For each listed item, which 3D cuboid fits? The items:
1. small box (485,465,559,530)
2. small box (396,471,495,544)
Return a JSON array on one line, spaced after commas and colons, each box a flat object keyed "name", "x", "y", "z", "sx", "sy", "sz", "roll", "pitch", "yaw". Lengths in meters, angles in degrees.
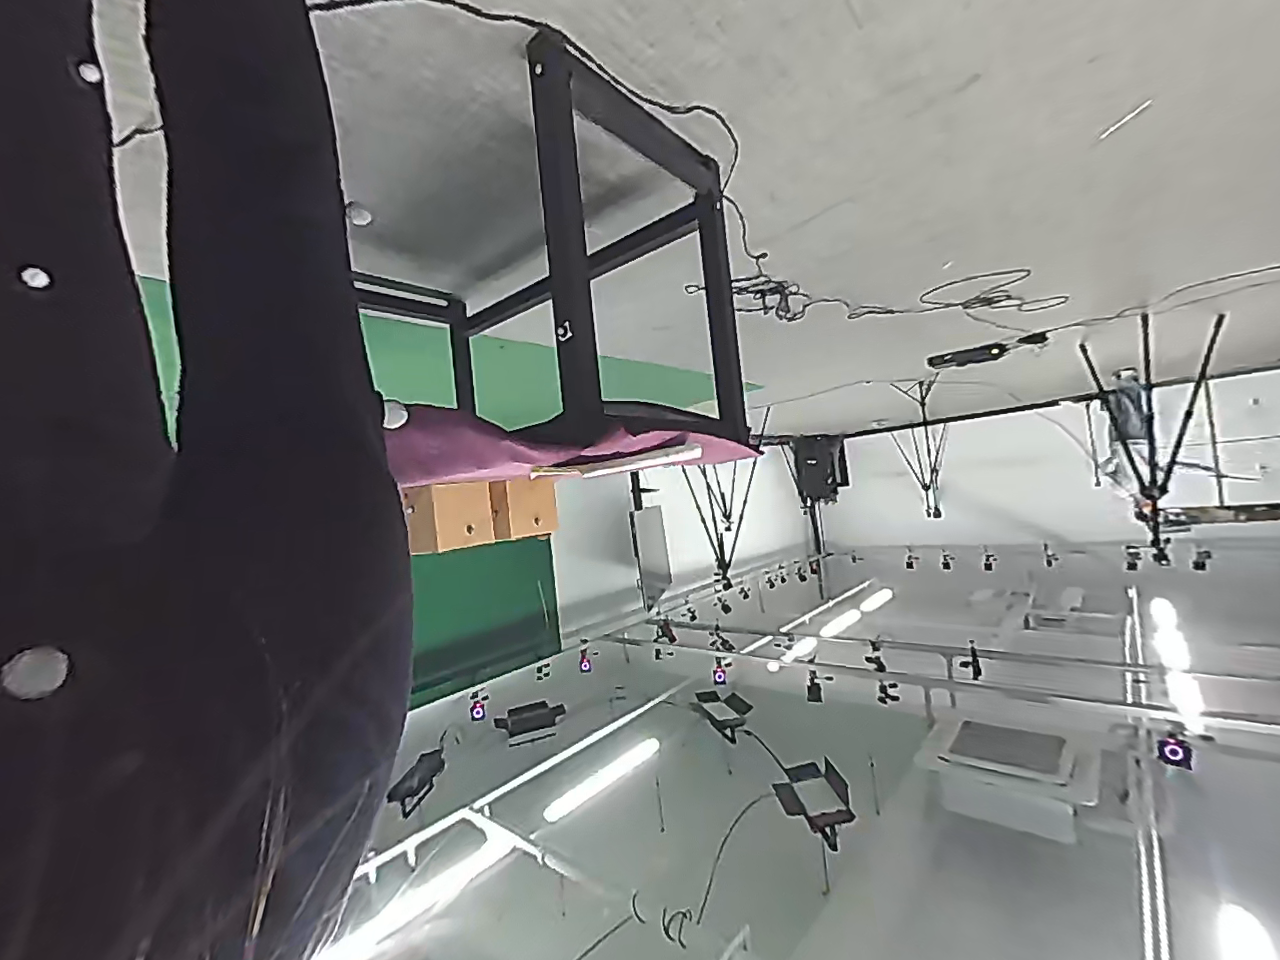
[{"name": "small box", "x": -0.363, "y": 0.052, "z": 1.581, "sx": 0.168, "sy": 0.176, "sz": 0.179, "roll": -7, "pitch": 179, "yaw": 40}, {"name": "small box", "x": -0.504, "y": 0.068, "z": 1.401, "sx": 0.168, "sy": 0.176, "sz": 0.179, "roll": -7, "pitch": 179, "yaw": 34}]
